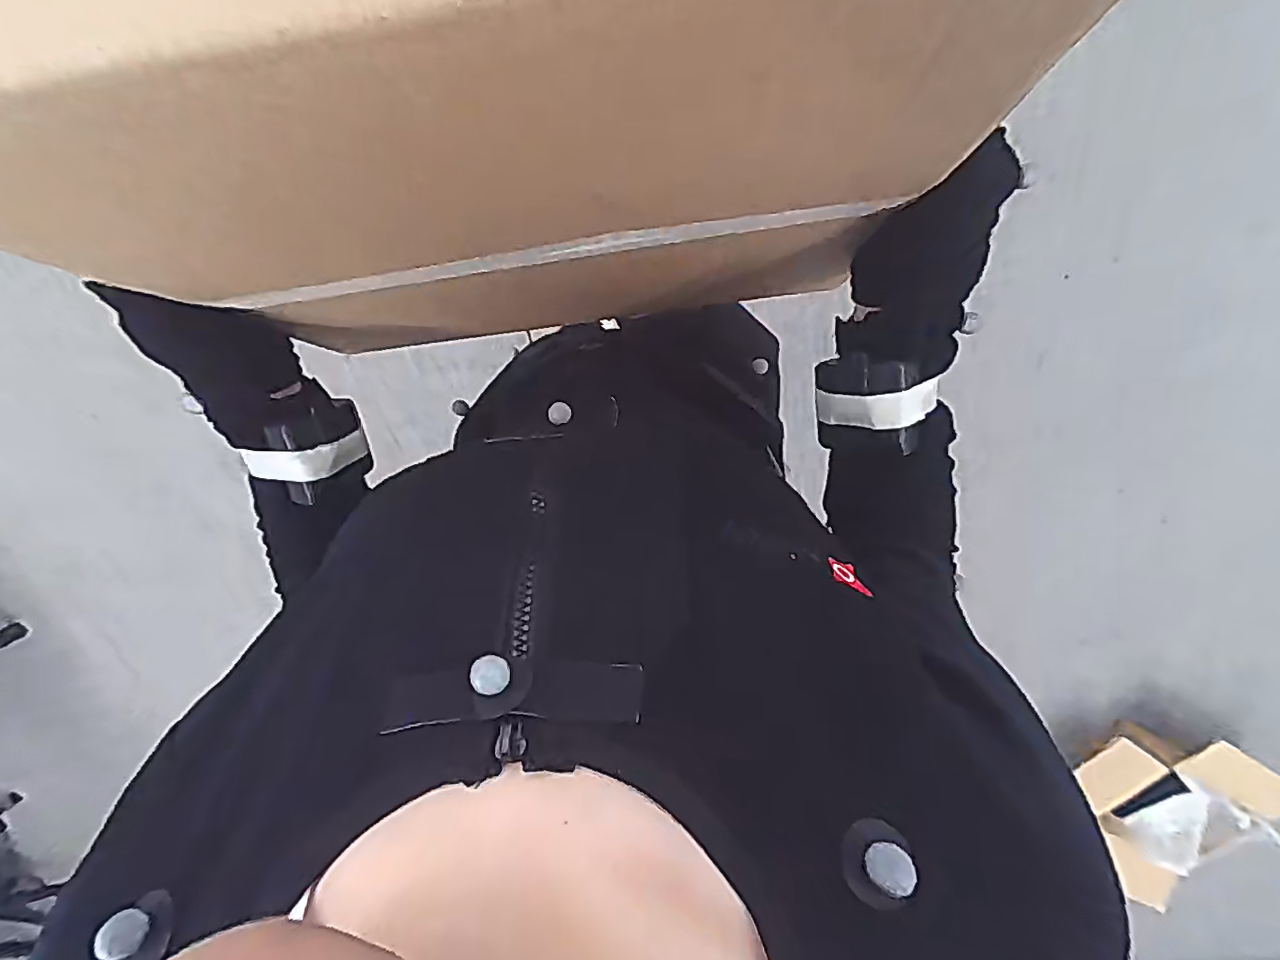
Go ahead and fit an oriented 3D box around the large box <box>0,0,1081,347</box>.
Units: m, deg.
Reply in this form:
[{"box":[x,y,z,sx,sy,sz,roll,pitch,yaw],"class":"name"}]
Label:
[{"box":[-0.069,-0.281,0.289,0.408,0.320,0.320,-7,93,4],"class":"large box"}]
